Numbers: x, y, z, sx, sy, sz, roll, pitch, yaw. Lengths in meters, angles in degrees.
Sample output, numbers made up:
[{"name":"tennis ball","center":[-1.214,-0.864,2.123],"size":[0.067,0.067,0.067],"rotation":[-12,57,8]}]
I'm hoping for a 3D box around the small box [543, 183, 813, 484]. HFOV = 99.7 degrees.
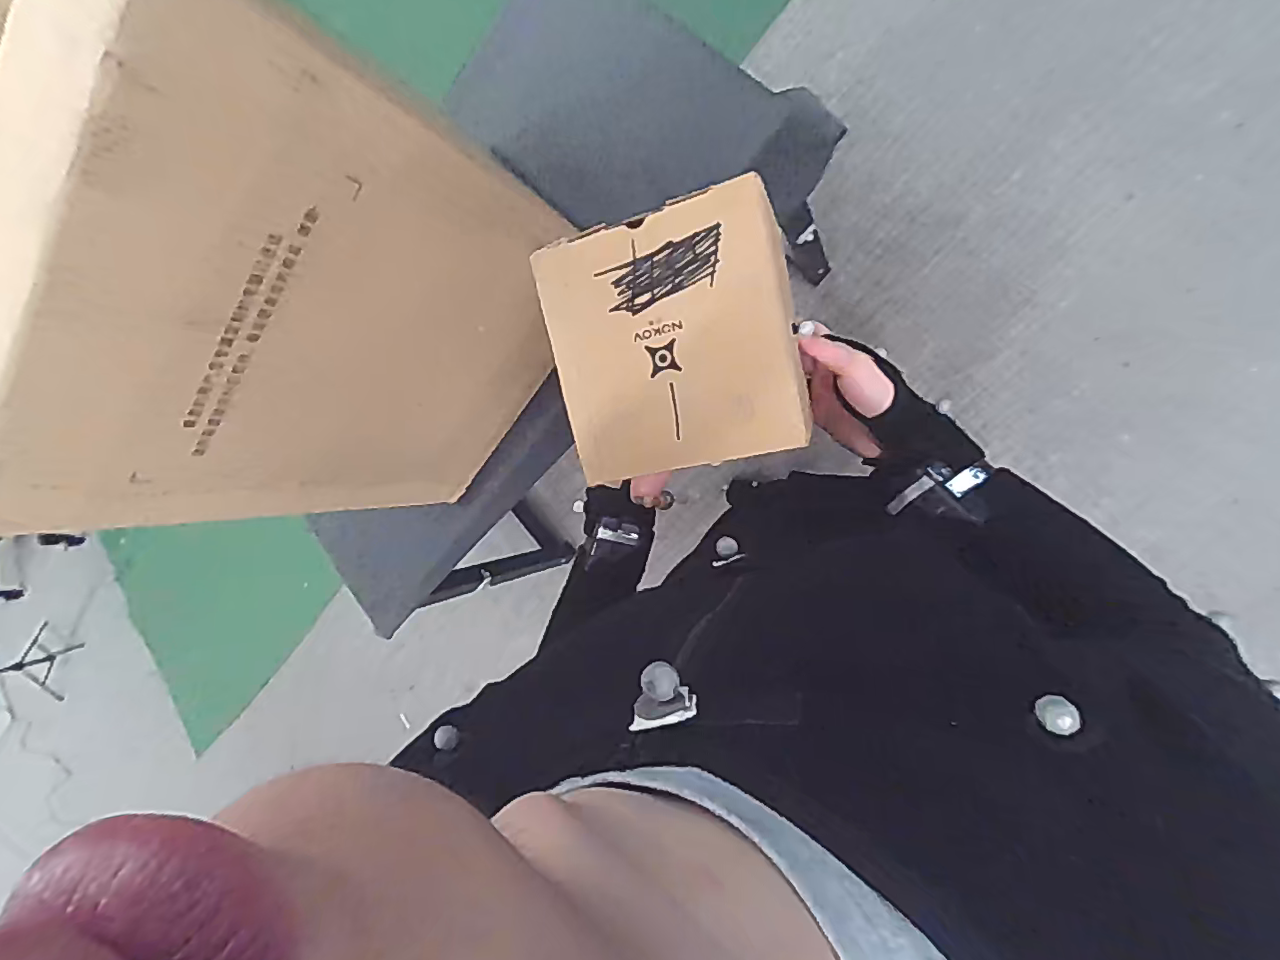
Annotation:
[{"name":"small box","center":[0.046,-0.107,0.450],"size":[0.168,0.176,0.179],"rotation":[-10,99,21]}]
